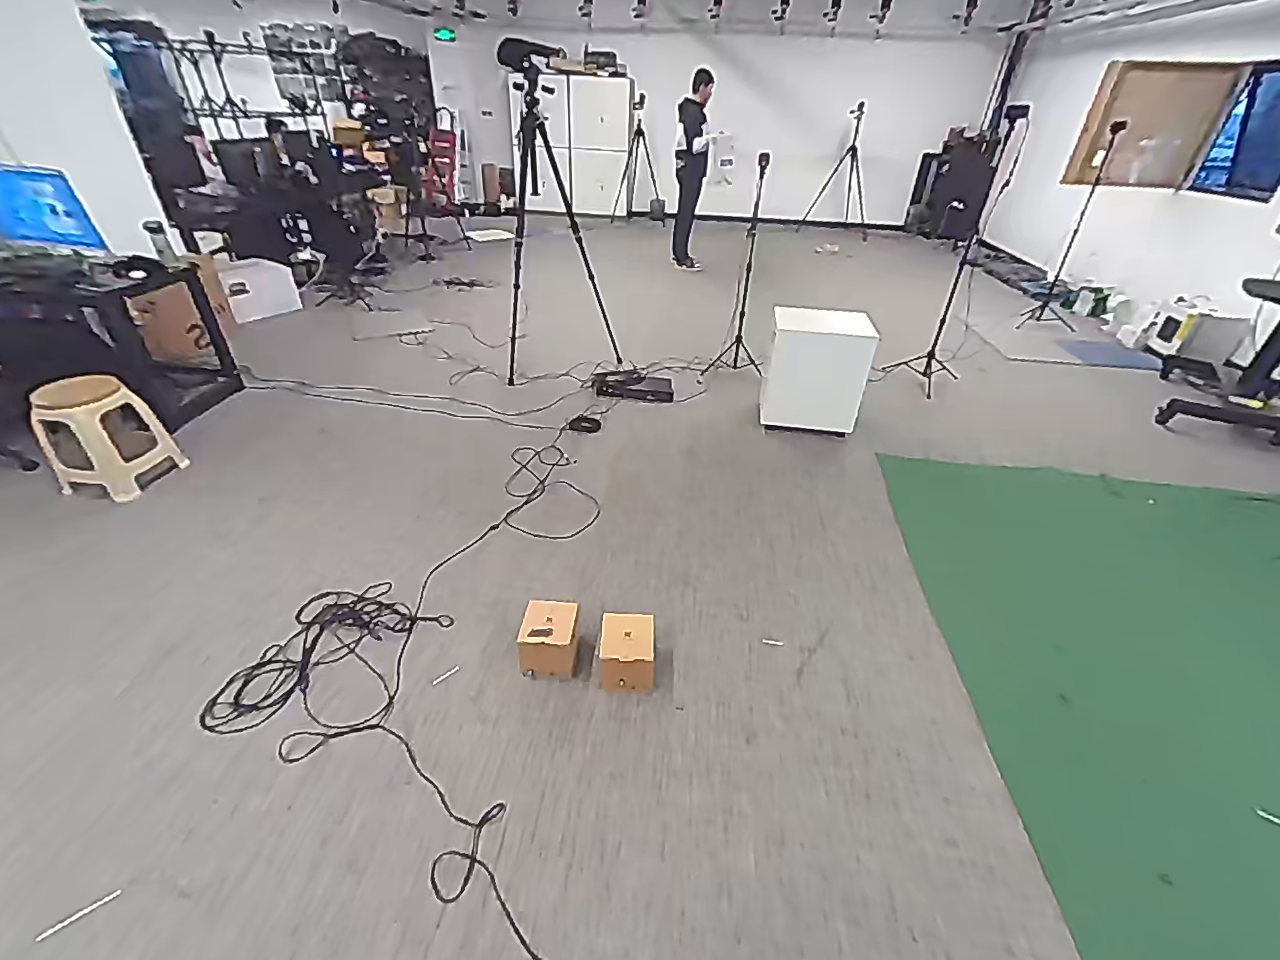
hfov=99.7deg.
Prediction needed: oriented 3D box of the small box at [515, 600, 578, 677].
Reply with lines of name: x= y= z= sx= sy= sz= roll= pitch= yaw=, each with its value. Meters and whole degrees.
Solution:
small box: x=-0.296 y=0.515 z=1.754 sx=0.168 sy=0.176 sz=0.179 roll=4 pitch=34 yaw=2

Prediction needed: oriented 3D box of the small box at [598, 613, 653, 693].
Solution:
small box: x=-0.045 y=0.550 z=1.722 sx=0.168 sy=0.176 sz=0.179 roll=2 pitch=36 yaw=0
